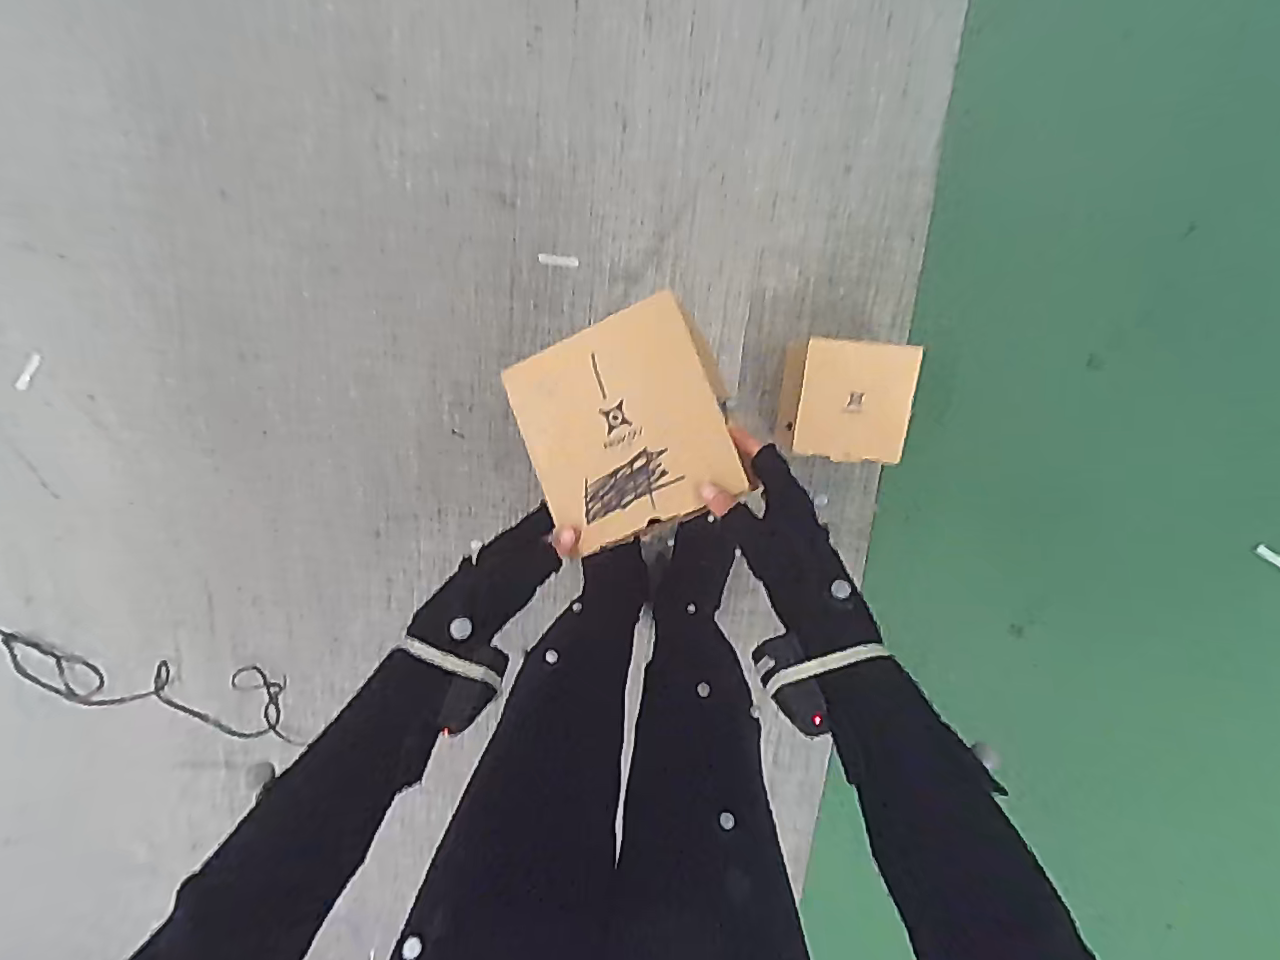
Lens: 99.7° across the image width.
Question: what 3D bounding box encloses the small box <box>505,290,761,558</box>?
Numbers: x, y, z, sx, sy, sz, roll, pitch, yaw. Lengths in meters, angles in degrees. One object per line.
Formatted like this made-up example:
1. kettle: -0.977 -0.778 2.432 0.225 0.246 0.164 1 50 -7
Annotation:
1. small box: 0.007 -0.045 0.516 0.168 0.176 0.179 -23 84 15

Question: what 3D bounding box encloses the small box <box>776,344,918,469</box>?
1. small box: 0.327 -0.125 0.894 0.168 0.176 0.179 6 102 4
